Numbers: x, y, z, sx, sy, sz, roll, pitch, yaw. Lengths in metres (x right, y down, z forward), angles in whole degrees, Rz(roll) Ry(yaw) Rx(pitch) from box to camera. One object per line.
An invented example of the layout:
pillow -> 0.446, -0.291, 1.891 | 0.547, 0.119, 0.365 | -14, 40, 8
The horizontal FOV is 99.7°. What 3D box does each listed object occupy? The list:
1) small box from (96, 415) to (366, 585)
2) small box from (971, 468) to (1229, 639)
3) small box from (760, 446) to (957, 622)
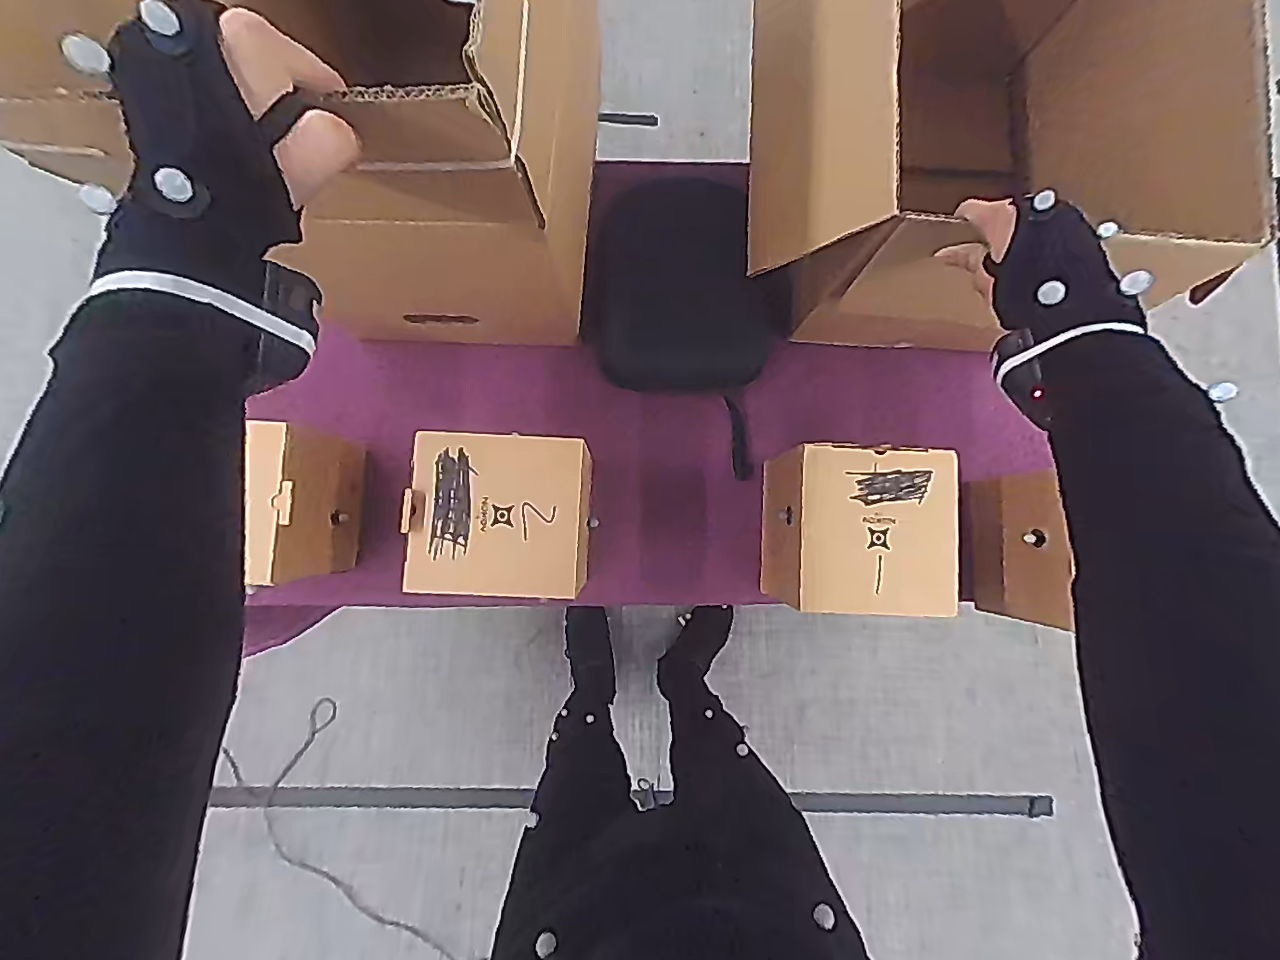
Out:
small box -> -0.450, 0.027, 0.624 | 0.179, 0.176, 0.168 | 3, 85, -3
small box -> 0.522, 0.084, 0.640 | 0.168, 0.176, 0.179 | 1, 85, 0
small box -> 0.243, 0.062, 0.637 | 0.168, 0.176, 0.179 | 3, 85, -1
